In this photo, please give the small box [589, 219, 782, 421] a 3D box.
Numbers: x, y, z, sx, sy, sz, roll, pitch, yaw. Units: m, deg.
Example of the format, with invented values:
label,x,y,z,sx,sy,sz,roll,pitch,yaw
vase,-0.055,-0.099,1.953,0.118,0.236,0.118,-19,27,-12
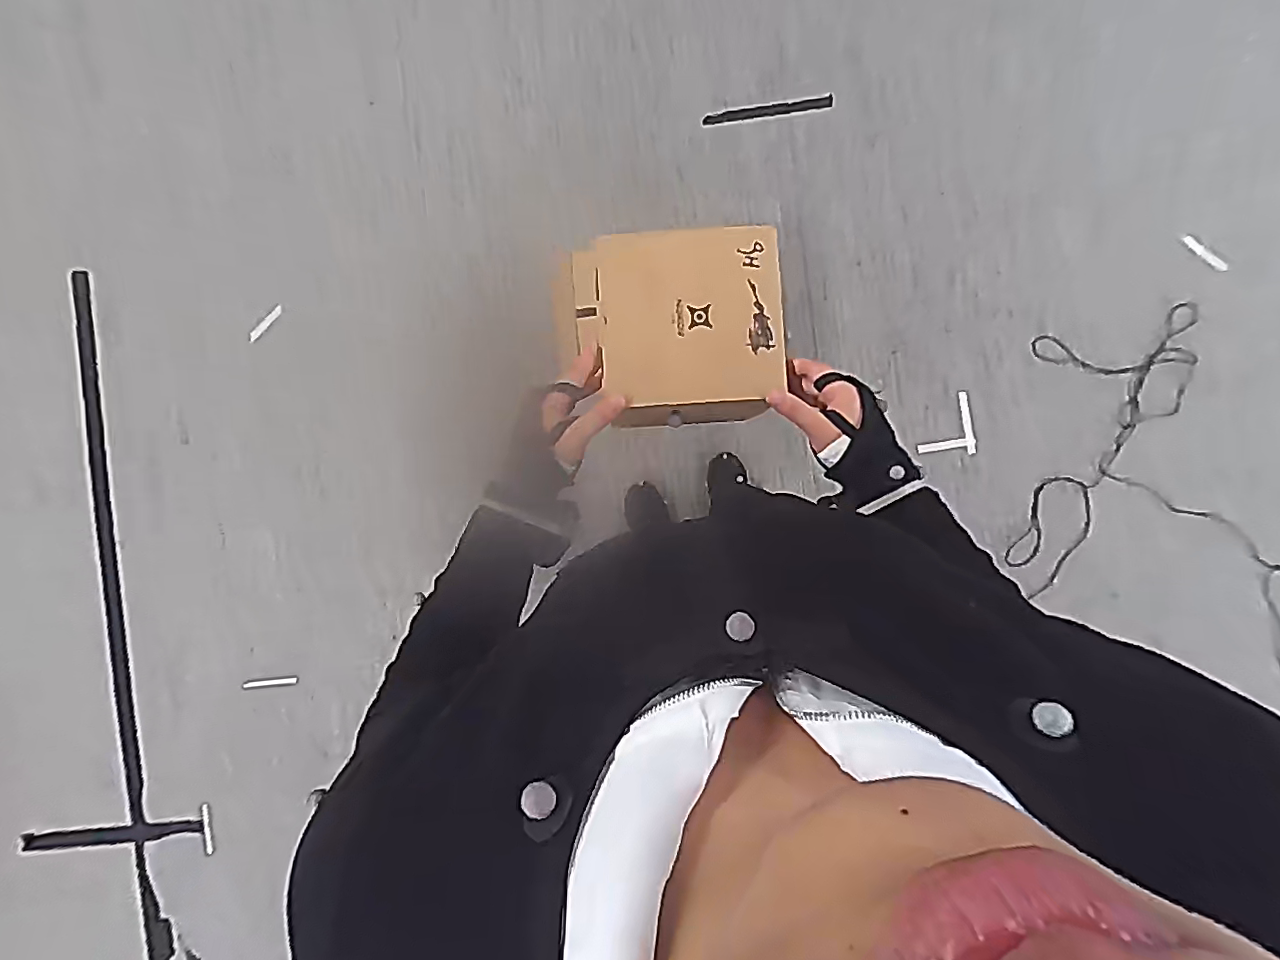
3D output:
label,x,y,z,sx,sy,sz,roll,pitch,yaw
small box,0.044,-0.159,0.591,0.179,0.176,0.168,-4,89,0
